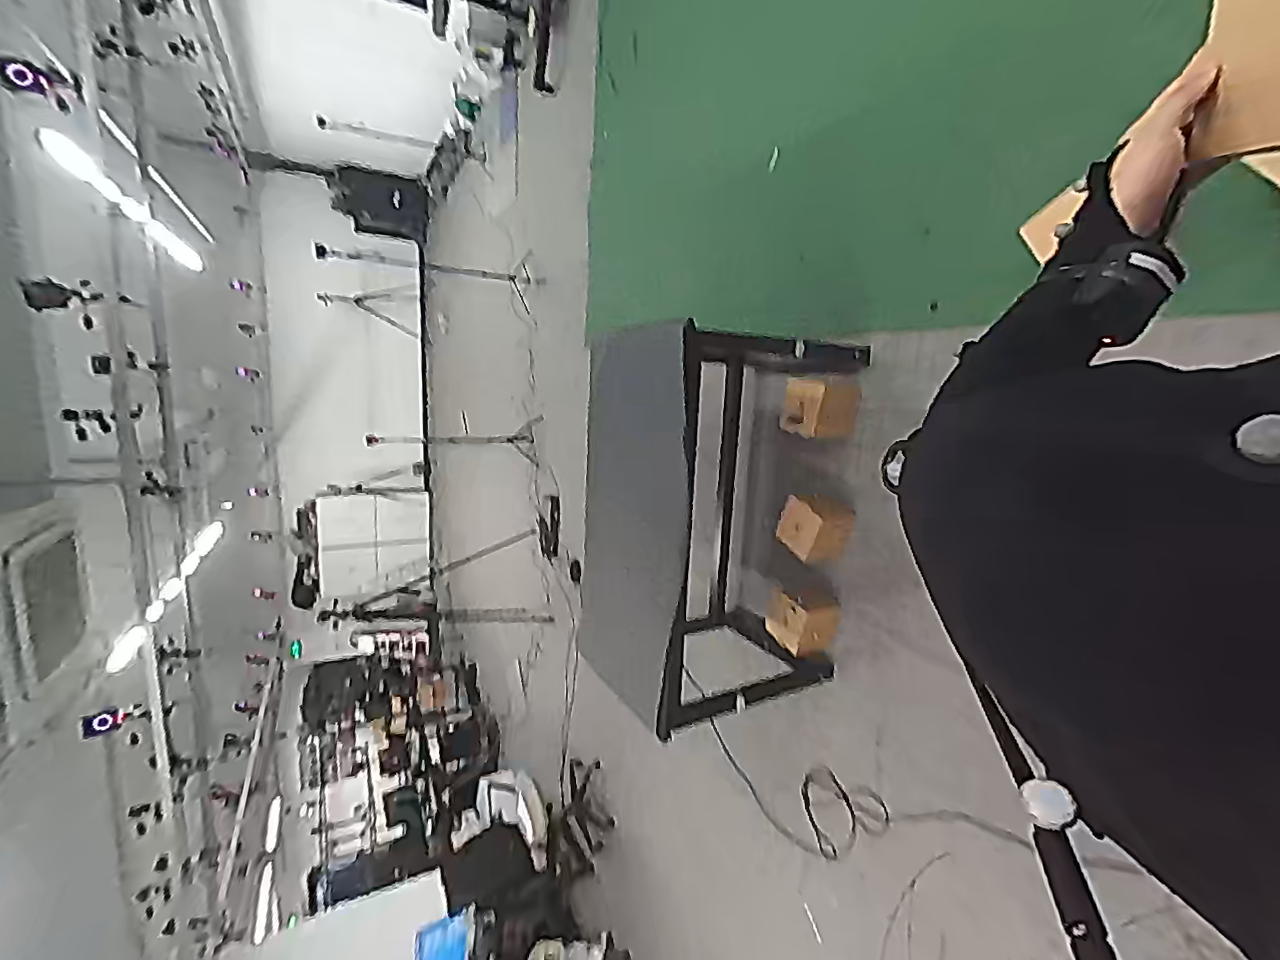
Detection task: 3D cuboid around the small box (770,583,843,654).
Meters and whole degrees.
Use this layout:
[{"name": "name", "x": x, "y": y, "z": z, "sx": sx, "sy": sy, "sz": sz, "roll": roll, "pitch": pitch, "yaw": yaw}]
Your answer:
[{"name": "small box", "x": 0.601, "y": 0.493, "z": 1.952, "sx": 0.168, "sy": 0.176, "sz": 0.179, "roll": 38, "pitch": 126, "yaw": 53}]

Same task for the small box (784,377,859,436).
[{"name": "small box", "x": 0.620, "y": -0.250, "z": 1.842, "sx": 0.168, "sy": 0.176, "sz": 0.179, "roll": 28, "pitch": 116, "yaw": 56}]

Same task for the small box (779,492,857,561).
[{"name": "small box", "x": 0.622, "y": 0.155, "z": 1.880, "sx": 0.168, "sy": 0.176, "sz": 0.179, "roll": 49, "pitch": 135, "yaw": 49}]

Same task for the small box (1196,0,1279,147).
[{"name": "small box", "x": 0.526, "y": -0.325, "z": 0.333, "sx": 0.179, "sy": 0.176, "sz": 0.168, "roll": -116, "pitch": 15, "yaw": -68}]

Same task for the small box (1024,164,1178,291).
[{"name": "small box", "x": 0.987, "y": -0.532, "z": 1.164, "sx": 0.168, "sy": 0.176, "sz": 0.179, "roll": -46, "pitch": 54, "yaw": 53}]
